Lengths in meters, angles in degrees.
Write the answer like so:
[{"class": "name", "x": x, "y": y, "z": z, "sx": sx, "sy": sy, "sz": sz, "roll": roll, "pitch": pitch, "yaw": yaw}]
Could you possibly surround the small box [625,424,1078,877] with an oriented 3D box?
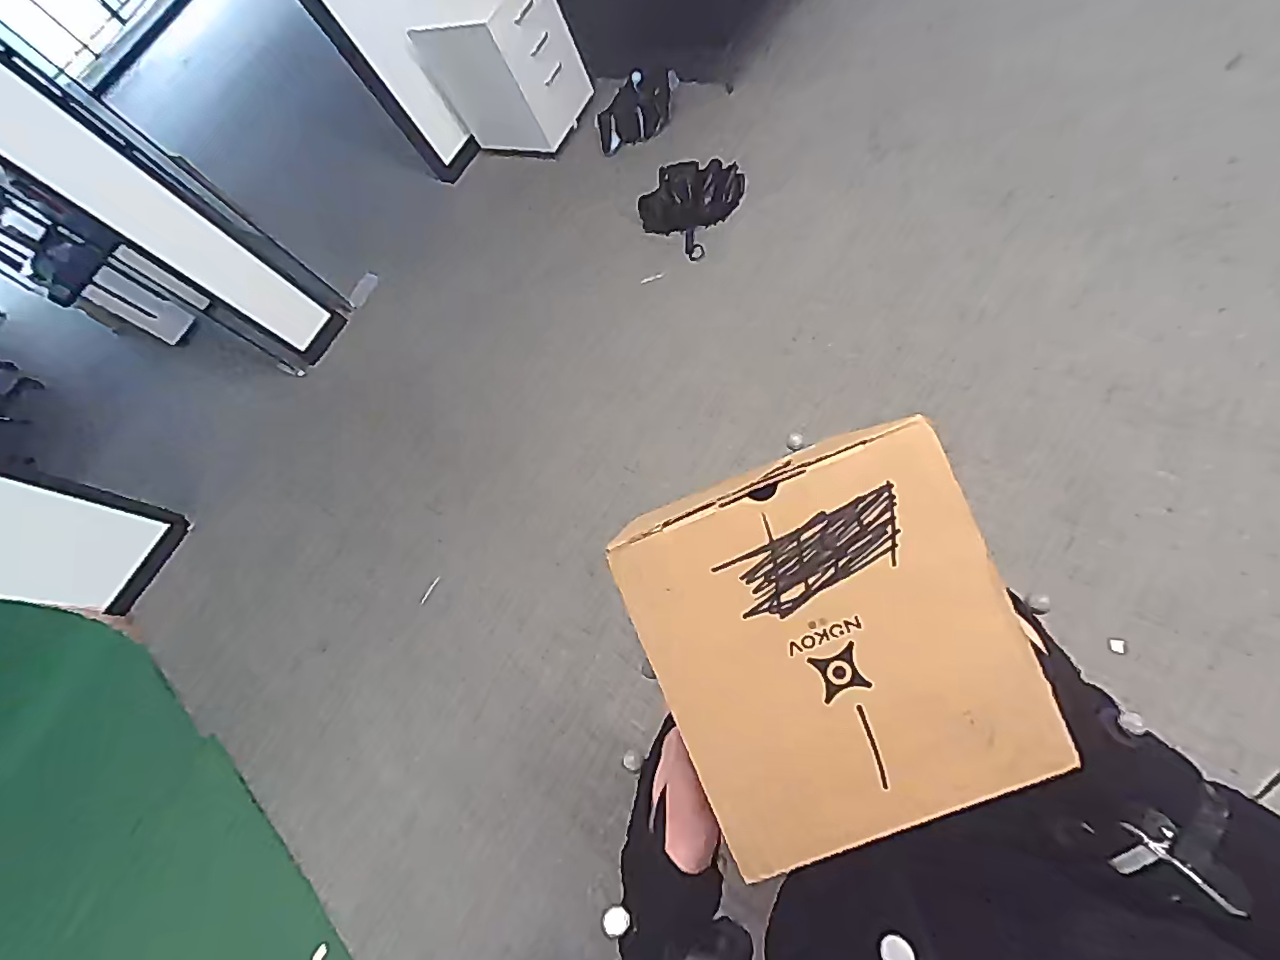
[{"class": "small box", "x": 0.102, "y": 0.083, "z": 0.338, "sx": 0.168, "sy": 0.176, "sz": 0.179, "roll": -23, "pitch": 89, "yaw": 5}]
